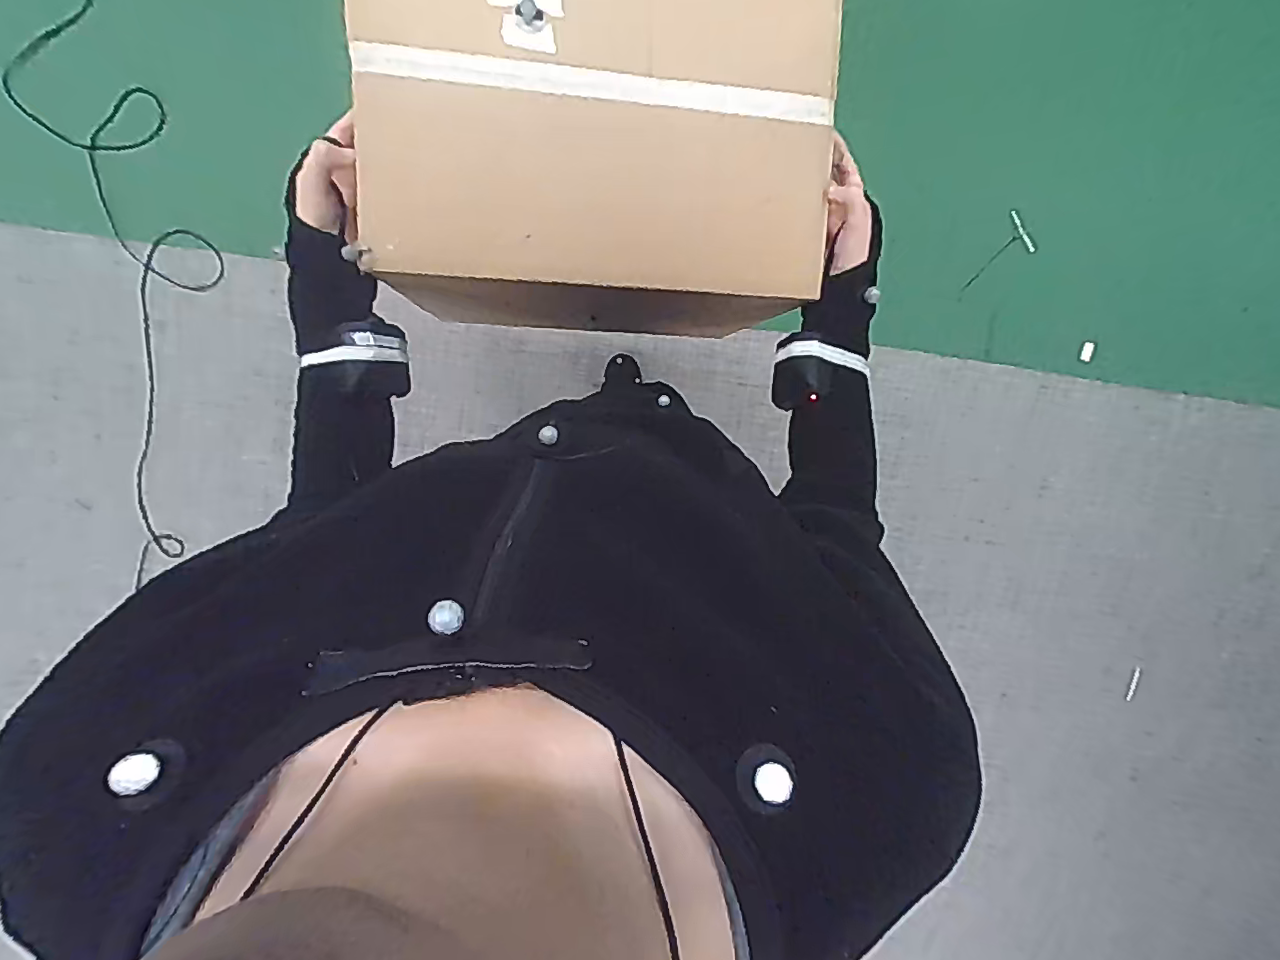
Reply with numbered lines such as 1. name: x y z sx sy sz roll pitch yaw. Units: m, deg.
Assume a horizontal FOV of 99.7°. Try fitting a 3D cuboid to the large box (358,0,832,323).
1. large box: -0.048 -0.355 0.608 0.408 0.320 0.320 1 99 -8
